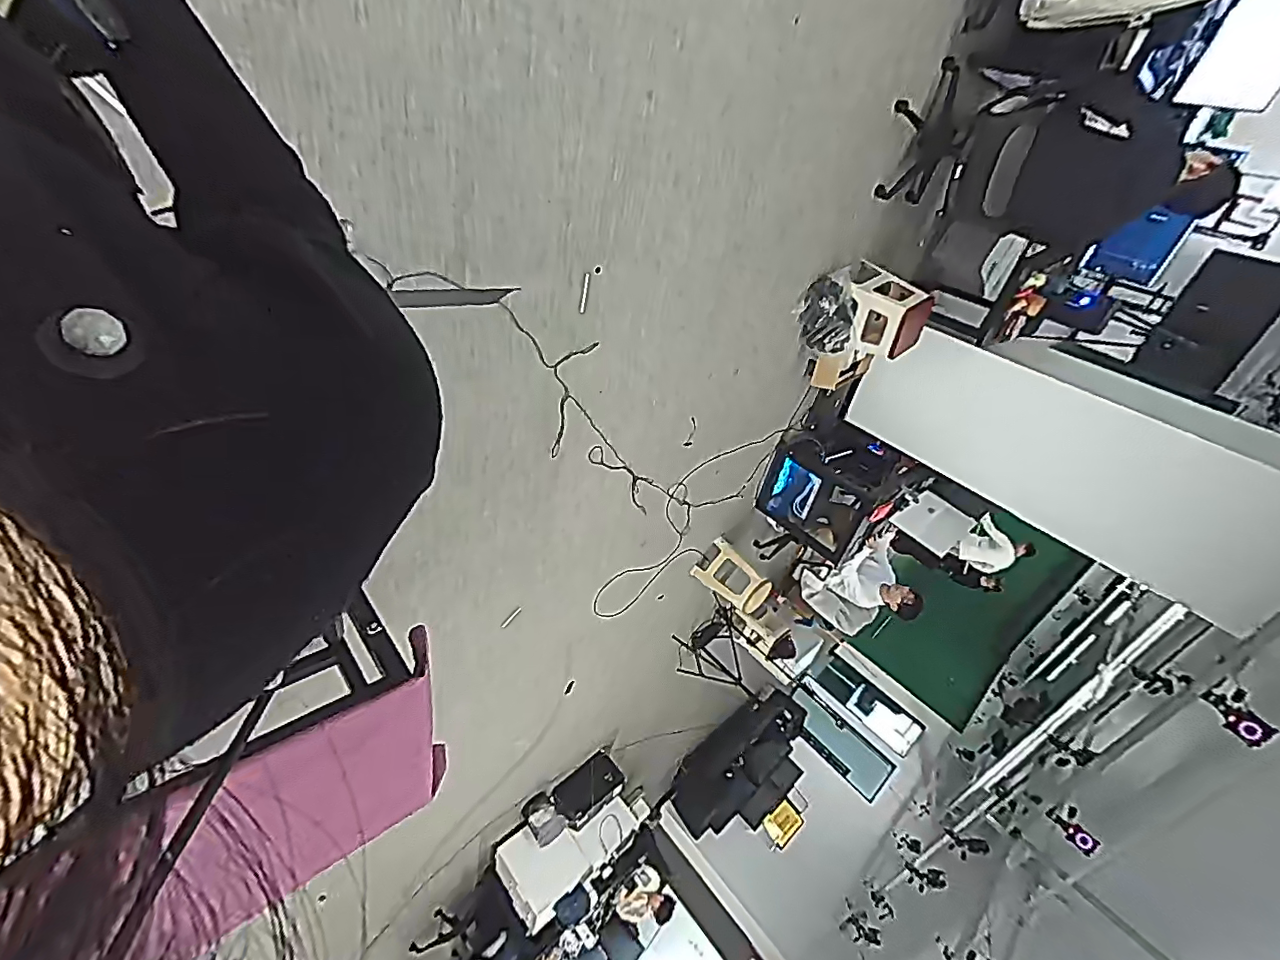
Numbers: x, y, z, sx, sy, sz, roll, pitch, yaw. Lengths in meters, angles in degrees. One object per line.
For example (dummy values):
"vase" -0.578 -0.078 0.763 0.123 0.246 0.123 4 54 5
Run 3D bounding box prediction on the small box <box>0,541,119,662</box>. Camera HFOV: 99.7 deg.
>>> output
"small box" -1.345 0.273 1.244 0.168 0.176 0.179 -20 136 -39
